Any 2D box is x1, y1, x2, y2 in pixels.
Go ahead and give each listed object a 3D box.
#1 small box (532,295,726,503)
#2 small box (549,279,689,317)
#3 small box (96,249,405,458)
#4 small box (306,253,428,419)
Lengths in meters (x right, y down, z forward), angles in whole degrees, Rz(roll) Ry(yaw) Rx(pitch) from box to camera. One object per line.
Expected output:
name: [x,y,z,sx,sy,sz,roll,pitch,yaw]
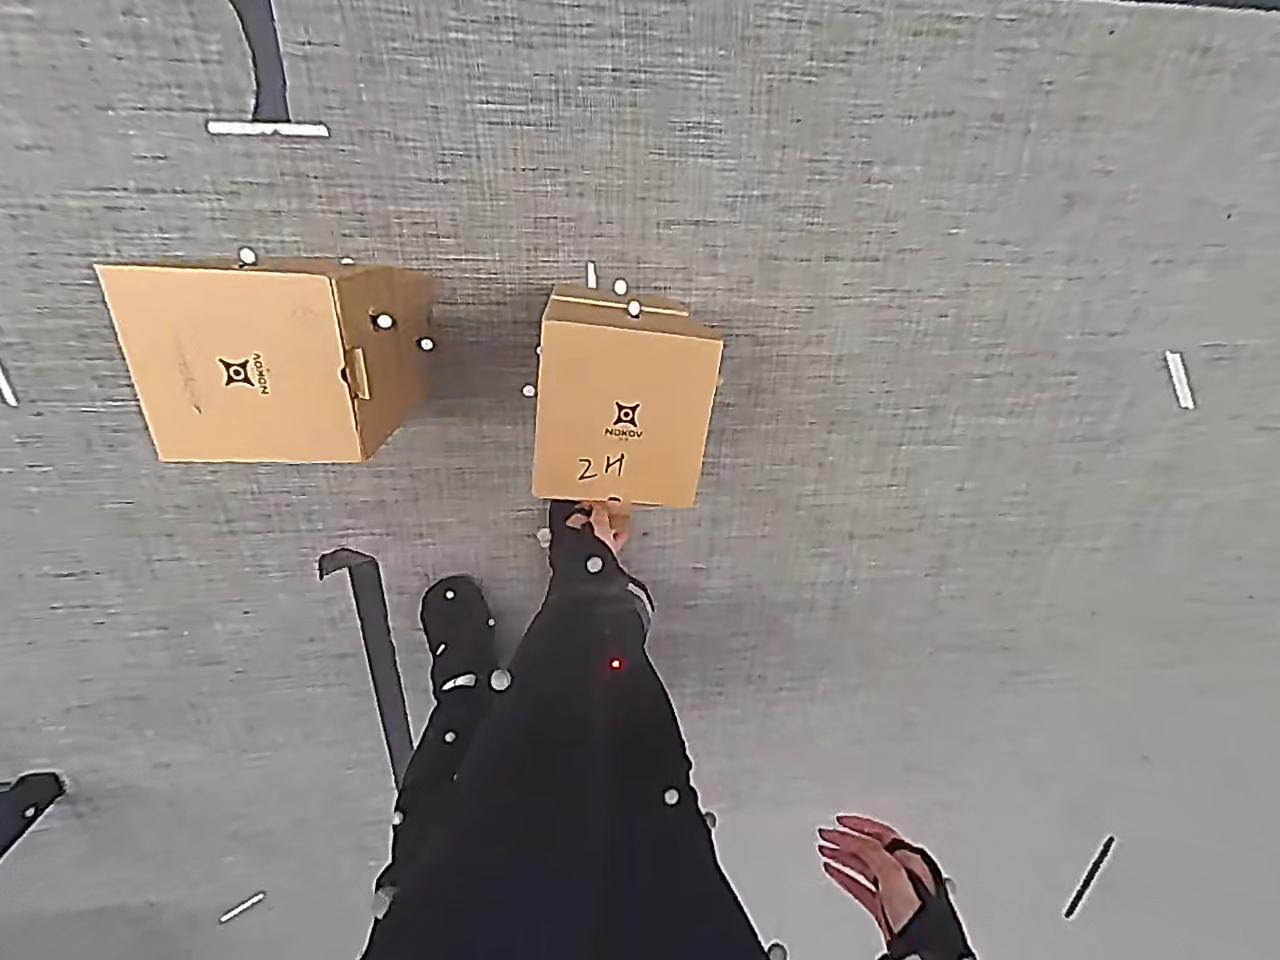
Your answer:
small box: [-0.023,-0.094,0.579,0.168,0.176,0.179,5,113,-9]
small box: [-0.042,-0.164,0.728,0.168,0.176,0.179,4,113,-9]
small box: [-0.341,-0.129,0.524,0.179,0.176,0.168,1,114,-7]
small box: [-0.370,-0.185,0.676,0.179,0.176,0.168,4,114,-10]
